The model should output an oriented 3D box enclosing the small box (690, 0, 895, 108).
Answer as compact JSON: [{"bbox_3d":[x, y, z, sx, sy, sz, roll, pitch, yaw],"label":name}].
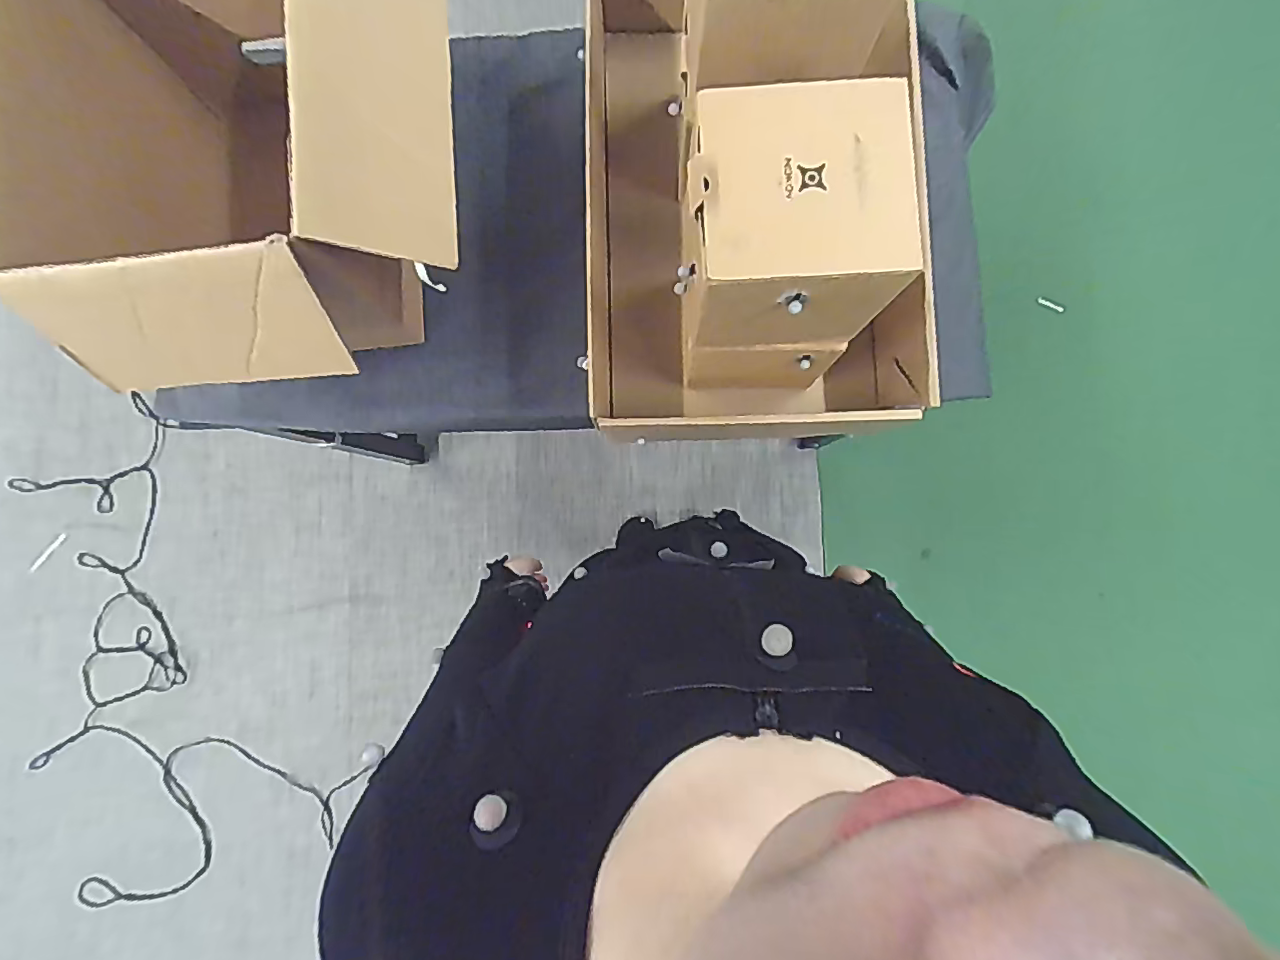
[{"bbox_3d":[0.138,-0.488,0.535,0.168,0.176,0.179,-1,88,2],"label":"small box"}]

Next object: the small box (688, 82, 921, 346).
[{"bbox_3d":[0.137,-0.235,0.519,0.179,0.176,0.168,-3,85,1],"label":"small box"}]
